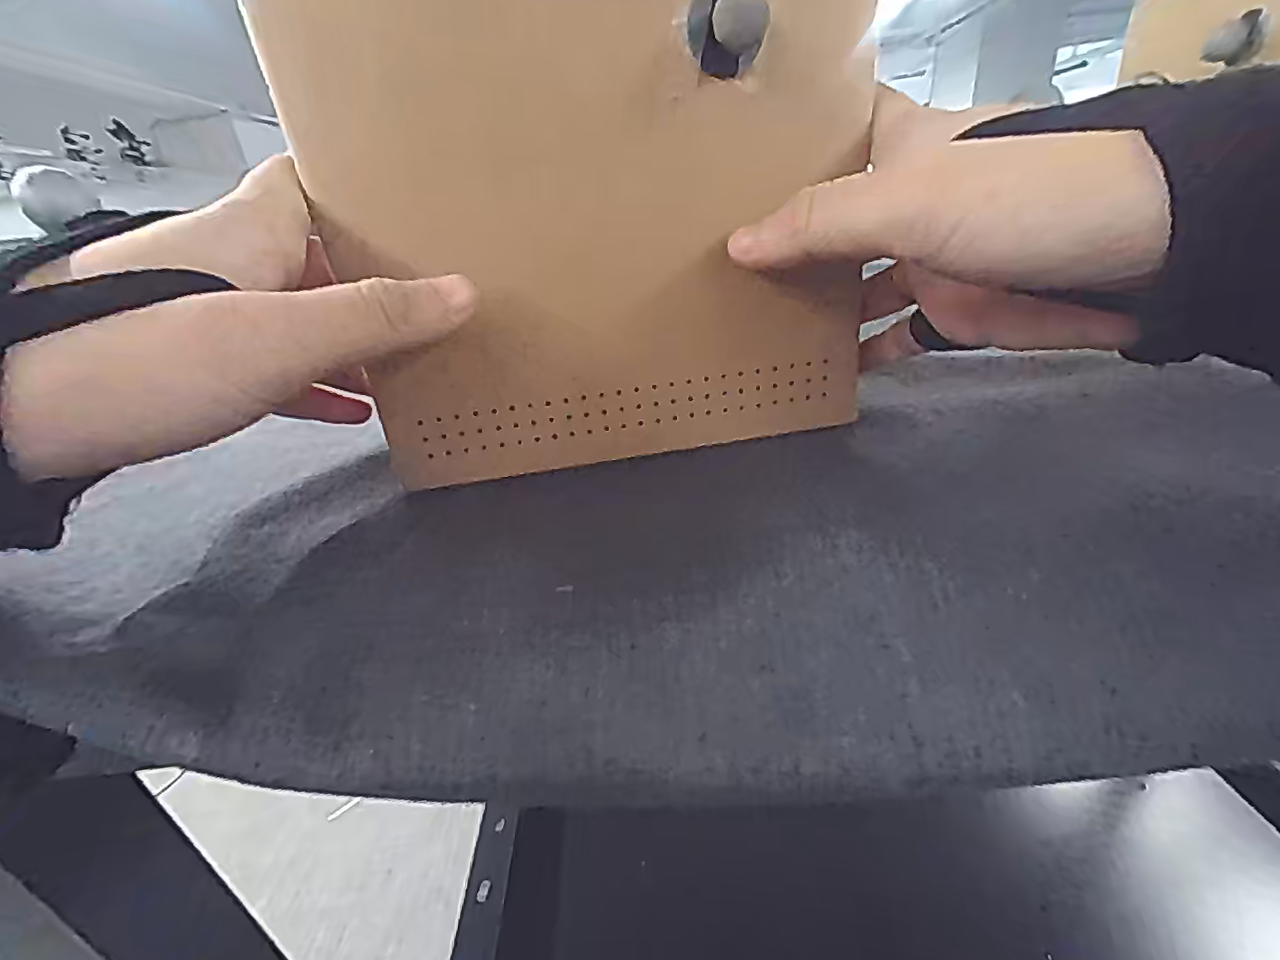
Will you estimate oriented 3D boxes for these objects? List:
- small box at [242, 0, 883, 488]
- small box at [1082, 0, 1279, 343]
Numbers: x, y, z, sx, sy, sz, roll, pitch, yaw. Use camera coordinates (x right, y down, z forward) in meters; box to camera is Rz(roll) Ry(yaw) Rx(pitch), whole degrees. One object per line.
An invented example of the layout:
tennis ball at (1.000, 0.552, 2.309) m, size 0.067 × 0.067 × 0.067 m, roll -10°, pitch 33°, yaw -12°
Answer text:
small box at (-0.019, -0.112, 0.241) m, size 0.179 × 0.176 × 0.168 m, roll -9°, pitch 25°, yaw -3°
small box at (0.362, -0.163, 0.252) m, size 0.168 × 0.176 × 0.179 m, roll -5°, pitch 25°, yaw 4°
